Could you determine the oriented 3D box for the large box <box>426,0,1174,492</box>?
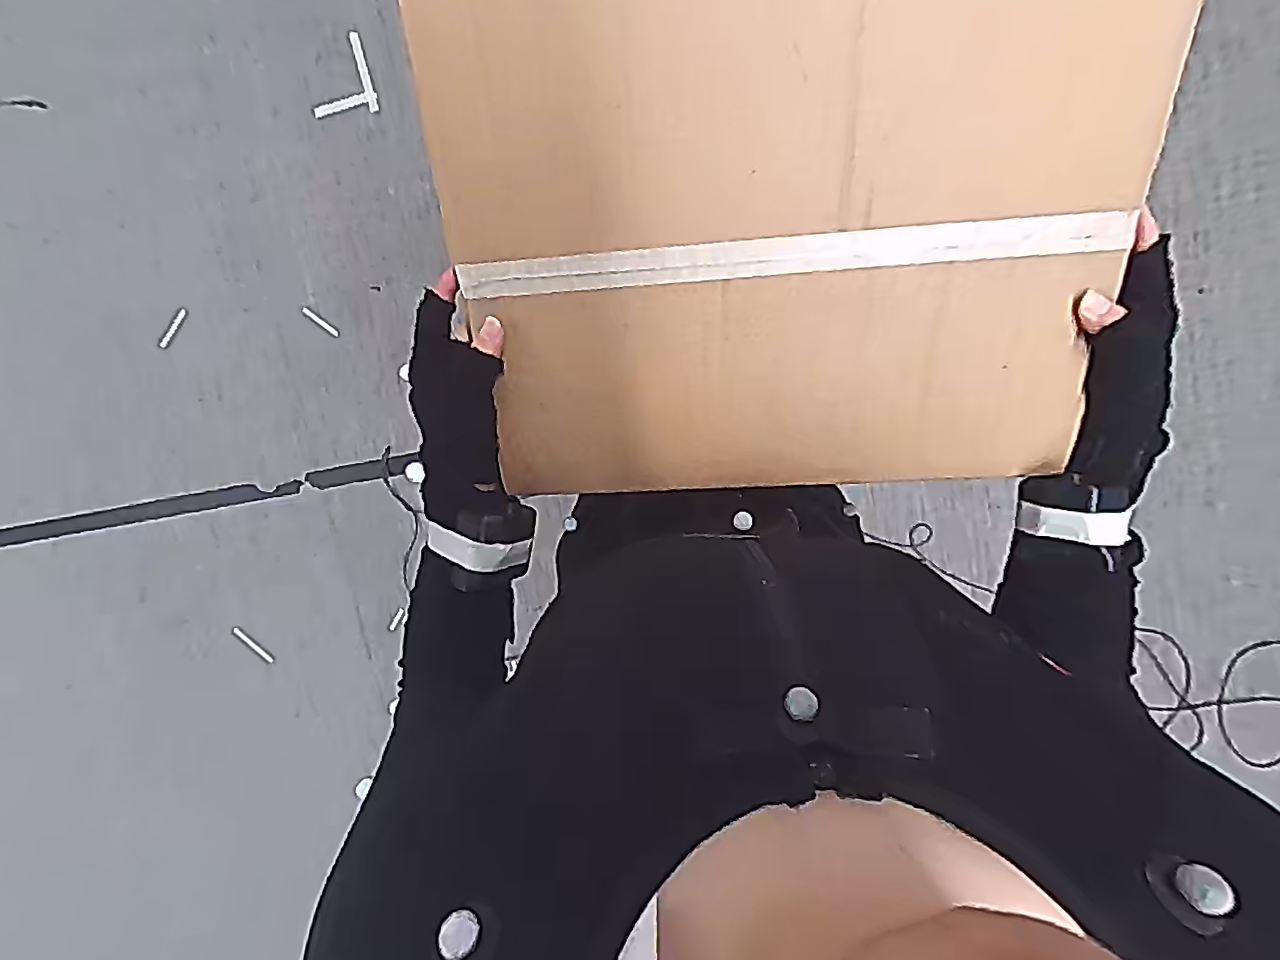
[{"bbox_3d":[0.095,-0.202,0.479,0.408,0.320,0.320,-2,117,5],"label":"large box"}]
